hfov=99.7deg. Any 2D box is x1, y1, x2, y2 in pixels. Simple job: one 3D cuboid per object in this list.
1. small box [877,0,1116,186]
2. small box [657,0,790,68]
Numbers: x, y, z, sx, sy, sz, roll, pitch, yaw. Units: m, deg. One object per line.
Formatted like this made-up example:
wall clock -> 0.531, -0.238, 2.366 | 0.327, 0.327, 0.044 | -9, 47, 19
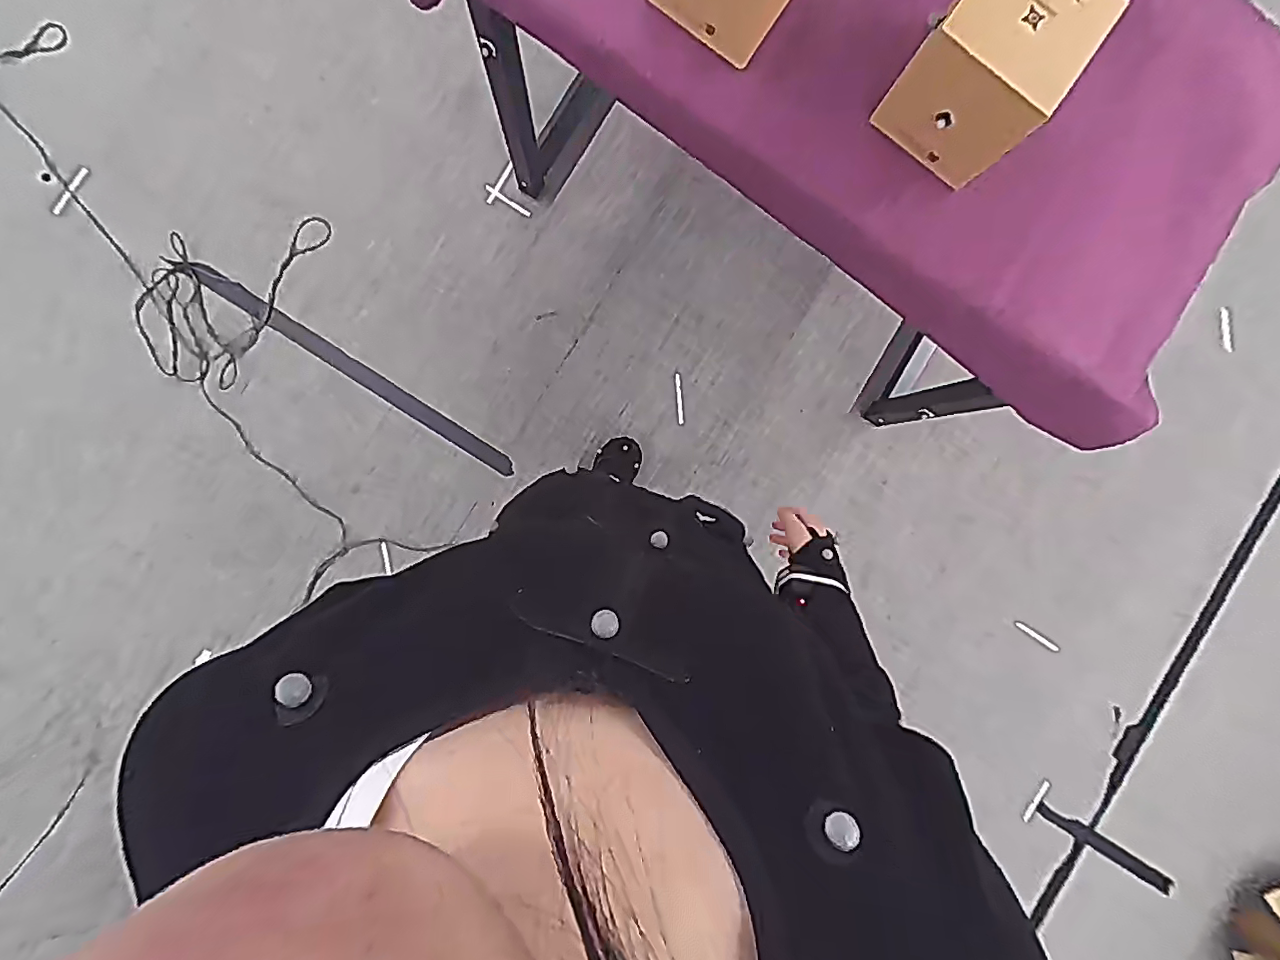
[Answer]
small box -> 0.448, -0.539, 0.716 | 0.168, 0.176, 0.179 | 35, 88, -5
small box -> 0.128, -0.690, 0.687 | 0.168, 0.176, 0.179 | 33, 87, -5
